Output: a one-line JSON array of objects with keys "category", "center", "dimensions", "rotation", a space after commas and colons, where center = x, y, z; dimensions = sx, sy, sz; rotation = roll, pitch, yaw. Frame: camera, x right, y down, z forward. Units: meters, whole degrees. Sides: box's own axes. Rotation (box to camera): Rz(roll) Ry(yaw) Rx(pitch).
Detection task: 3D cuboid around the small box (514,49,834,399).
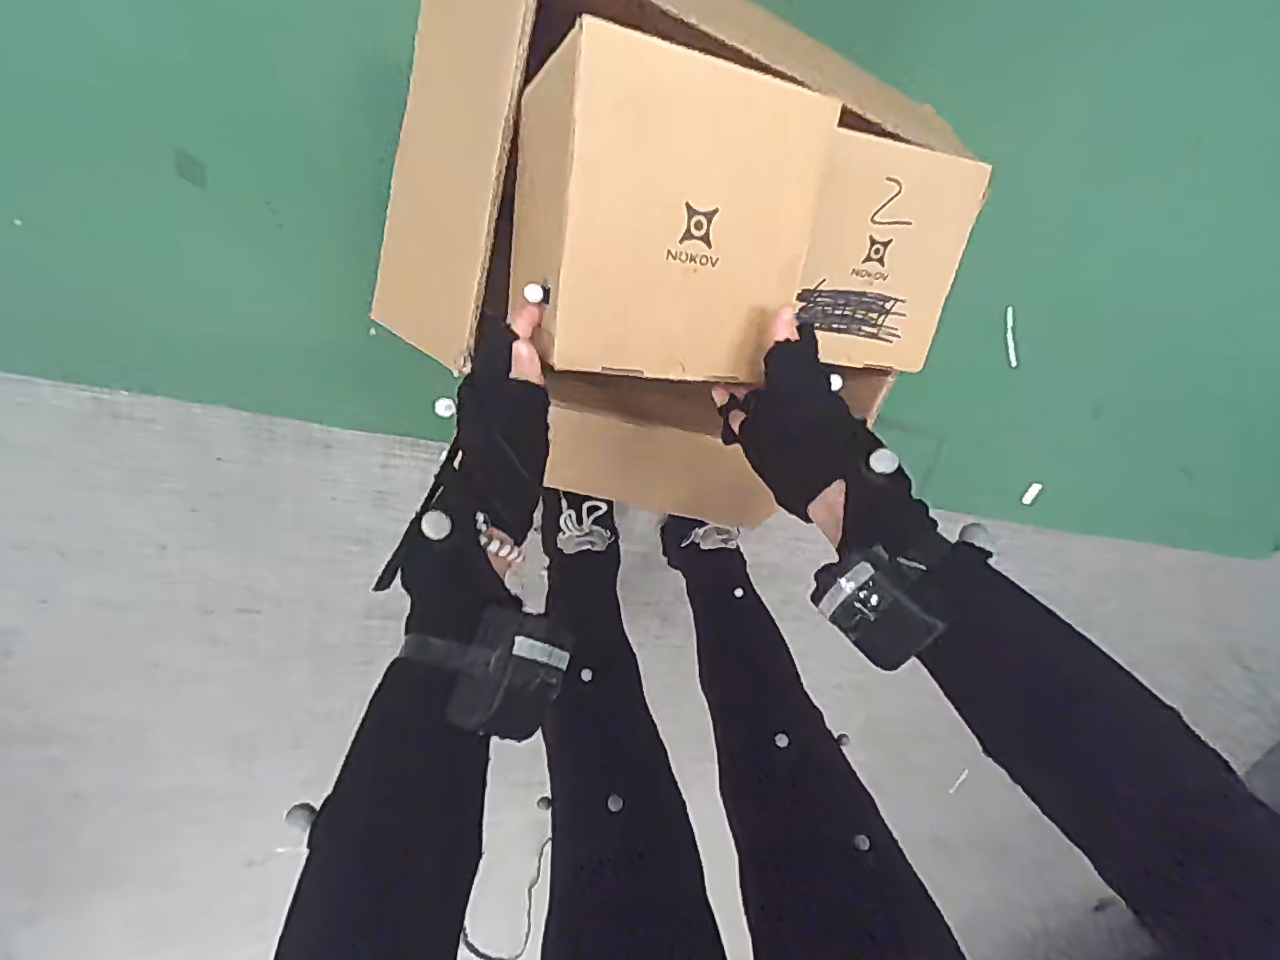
[{"category": "small box", "center": [0.005, -0.170, 0.402], "dimensions": [0.168, 0.176, 0.179], "rotation": [0, 113, -23]}]
